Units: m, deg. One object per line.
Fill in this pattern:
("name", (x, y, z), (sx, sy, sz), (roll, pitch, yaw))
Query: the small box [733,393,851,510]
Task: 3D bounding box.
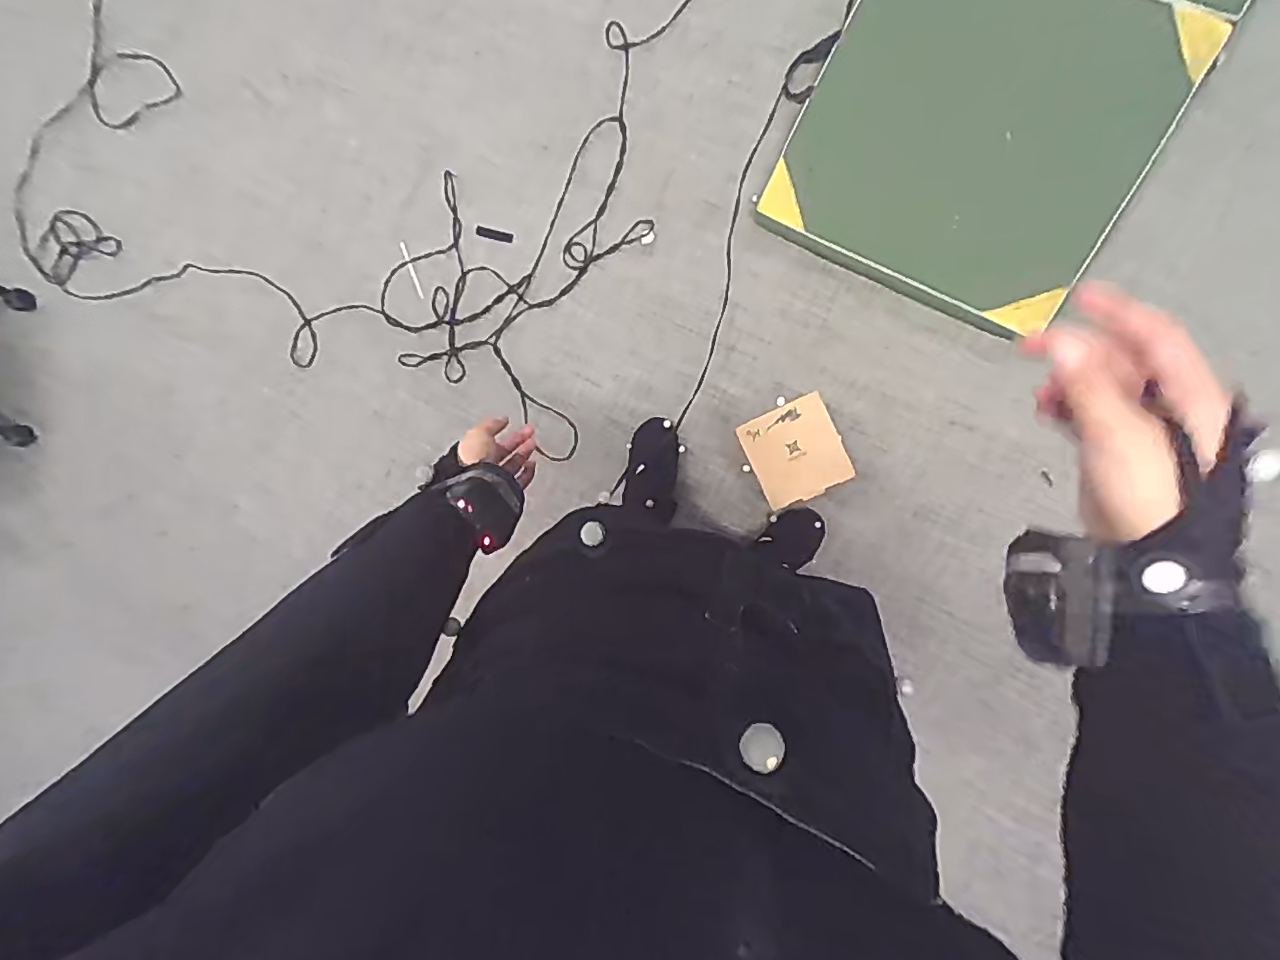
("small box", (0.296, -0.060, 1.081), (0.168, 0.176, 0.179), (-25, 91, 11))
